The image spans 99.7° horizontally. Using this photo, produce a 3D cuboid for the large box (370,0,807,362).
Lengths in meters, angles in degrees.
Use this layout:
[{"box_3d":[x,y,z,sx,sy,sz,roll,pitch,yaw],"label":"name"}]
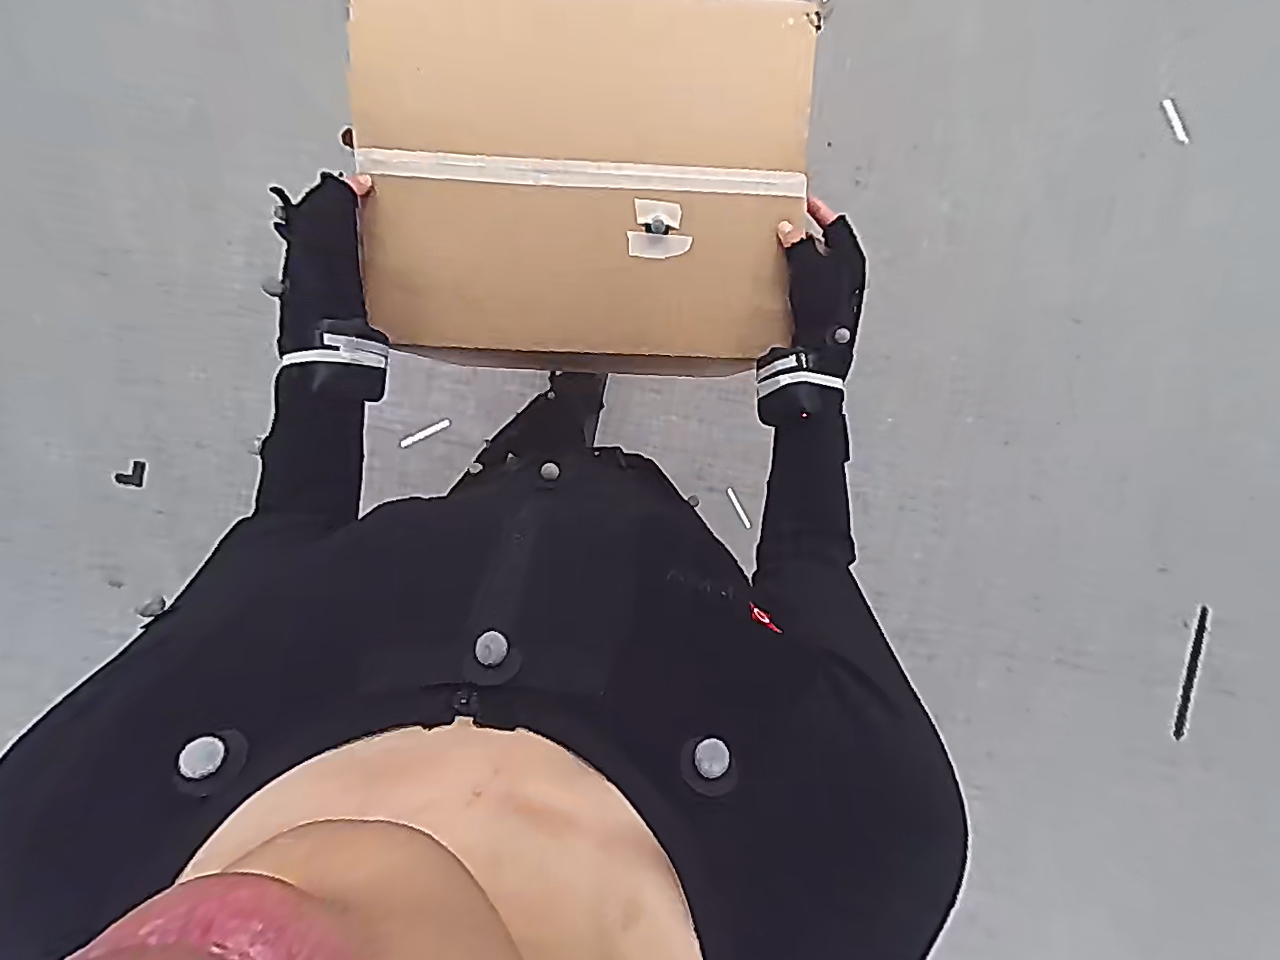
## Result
[{"box_3d":[-0.056,-0.314,0.656,0.408,0.320,0.320,1,99,-4],"label":"large box"}]
